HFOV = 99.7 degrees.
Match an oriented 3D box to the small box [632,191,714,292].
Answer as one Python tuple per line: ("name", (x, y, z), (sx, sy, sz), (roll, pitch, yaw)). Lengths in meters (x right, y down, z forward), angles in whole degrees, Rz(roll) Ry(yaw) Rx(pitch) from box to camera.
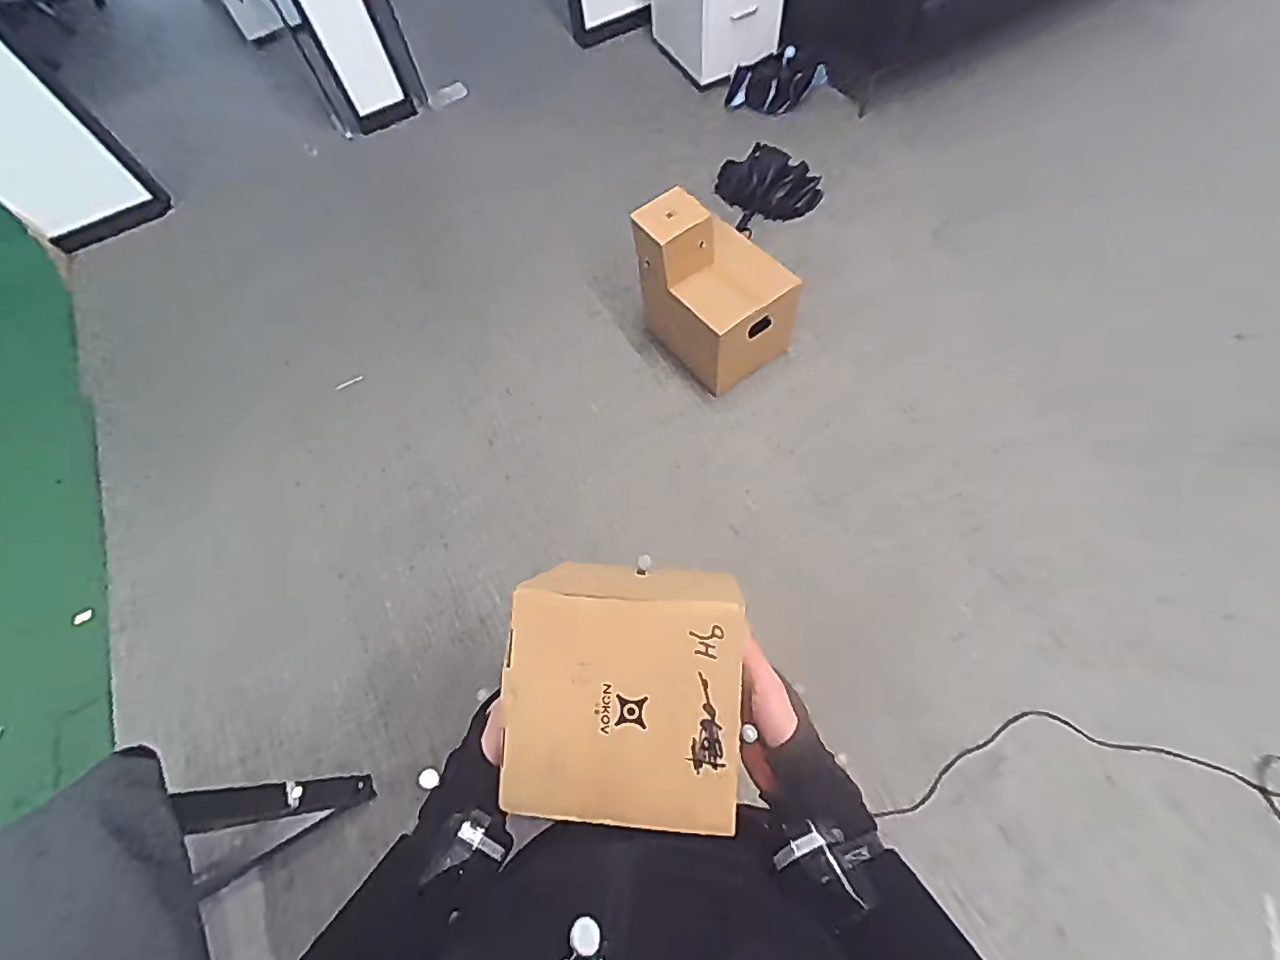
("small box", (0.100, -0.694, 1.583), (0.179, 0.176, 0.168), (-35, 64, -6))
